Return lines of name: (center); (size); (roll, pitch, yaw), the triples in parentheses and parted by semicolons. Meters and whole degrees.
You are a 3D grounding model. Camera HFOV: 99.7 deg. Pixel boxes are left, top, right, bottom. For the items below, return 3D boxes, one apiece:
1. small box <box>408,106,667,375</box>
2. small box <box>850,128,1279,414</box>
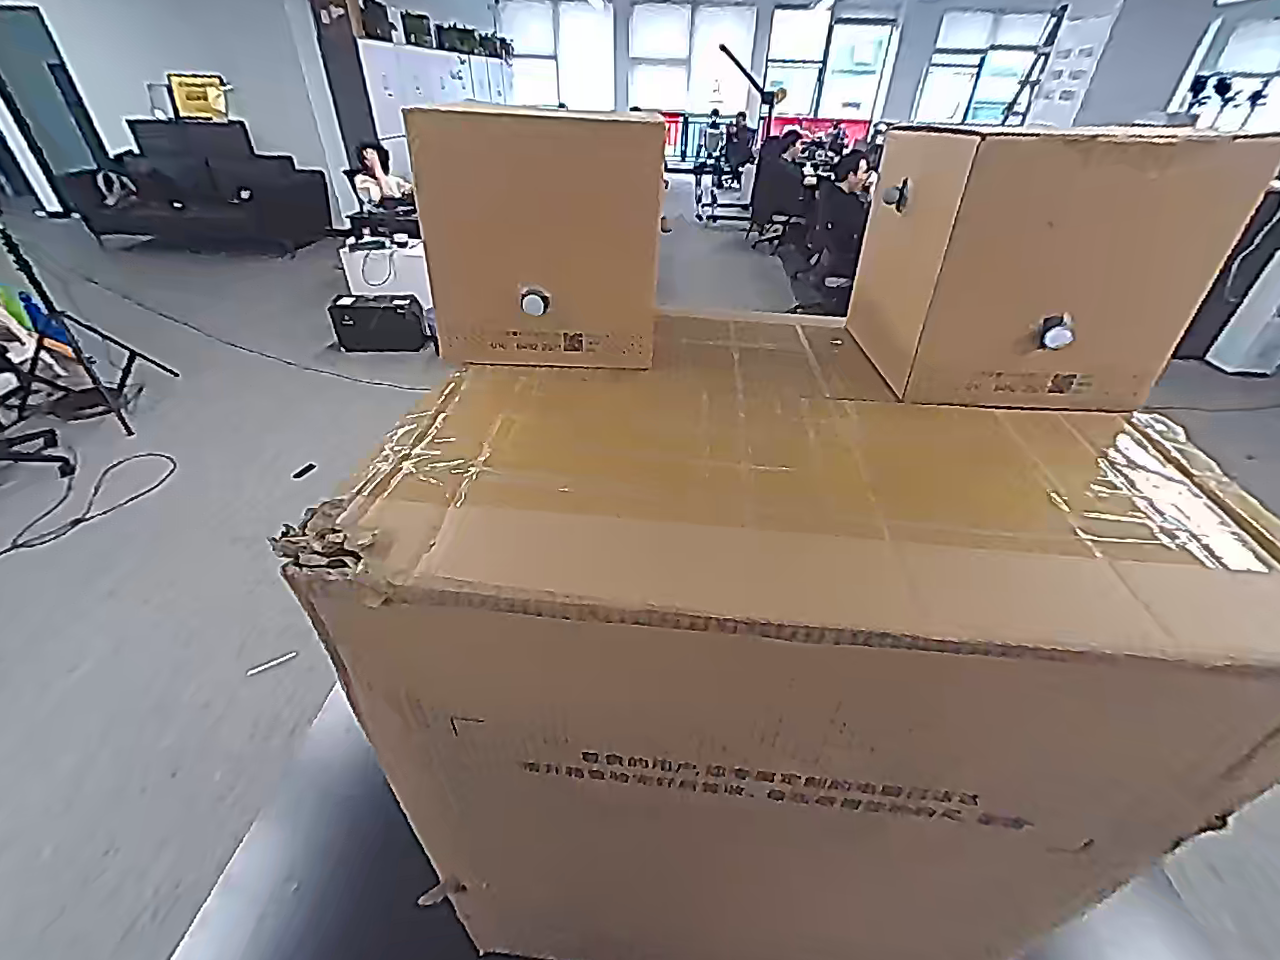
small box: (-0.069, -0.201, 0.450); (0.168, 0.176, 0.179); (2, 35, -2)
small box: (0.277, -0.166, 0.415); (0.168, 0.176, 0.179); (2, 34, 4)
